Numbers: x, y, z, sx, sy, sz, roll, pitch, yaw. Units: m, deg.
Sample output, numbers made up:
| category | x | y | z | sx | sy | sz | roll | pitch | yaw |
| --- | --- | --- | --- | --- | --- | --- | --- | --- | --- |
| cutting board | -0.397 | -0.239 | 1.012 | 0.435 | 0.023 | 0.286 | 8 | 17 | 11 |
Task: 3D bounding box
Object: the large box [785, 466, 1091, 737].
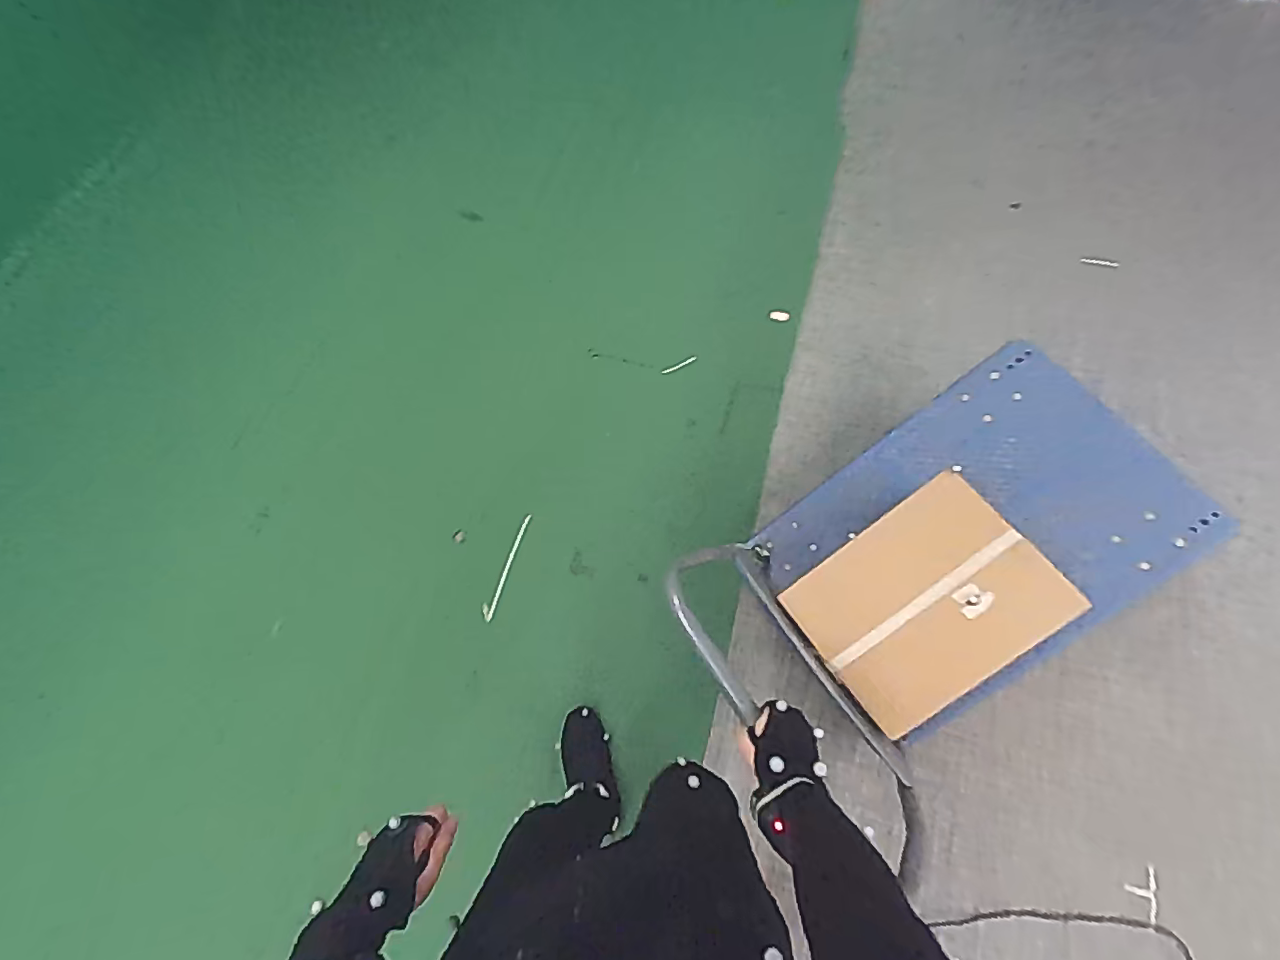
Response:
| category | x | y | z | sx | sy | sz | roll | pitch | yaw |
| --- | --- | --- | --- | --- | --- | --- | --- | --- | --- |
| large box | 0.558 | 0.242 | 1.104 | 0.408 | 0.320 | 0.320 | -39 | 70 | 7 |
